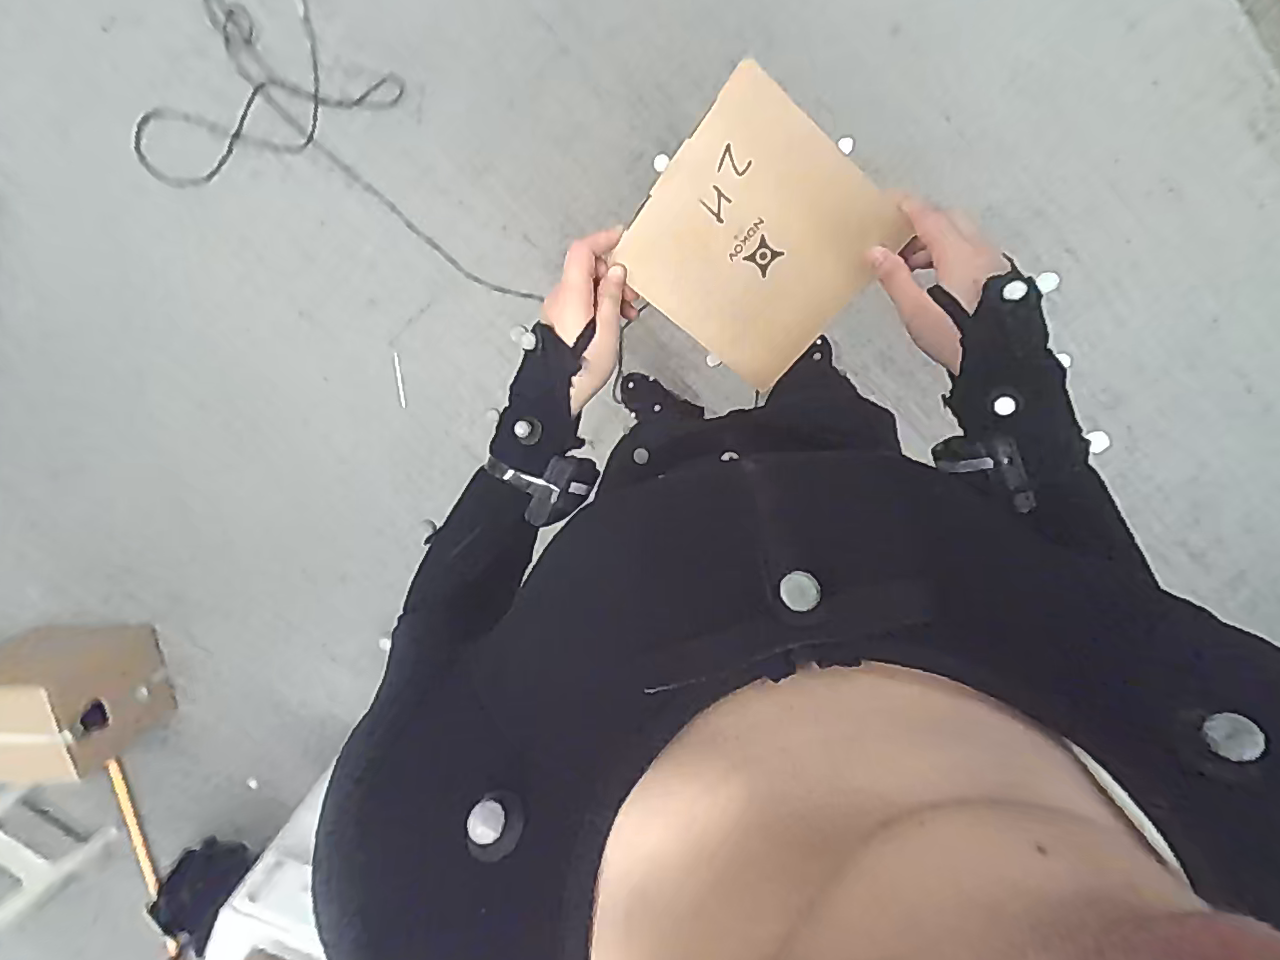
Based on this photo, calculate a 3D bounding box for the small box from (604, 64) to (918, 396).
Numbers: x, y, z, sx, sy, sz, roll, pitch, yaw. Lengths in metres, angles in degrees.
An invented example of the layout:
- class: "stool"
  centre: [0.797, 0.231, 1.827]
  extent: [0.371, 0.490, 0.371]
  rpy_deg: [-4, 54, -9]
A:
- class: "small box"
  centre: [0.094, -0.210, 0.474]
  extent: [0.179, 0.176, 0.168]
  rpy_deg: [36, 115, -14]
